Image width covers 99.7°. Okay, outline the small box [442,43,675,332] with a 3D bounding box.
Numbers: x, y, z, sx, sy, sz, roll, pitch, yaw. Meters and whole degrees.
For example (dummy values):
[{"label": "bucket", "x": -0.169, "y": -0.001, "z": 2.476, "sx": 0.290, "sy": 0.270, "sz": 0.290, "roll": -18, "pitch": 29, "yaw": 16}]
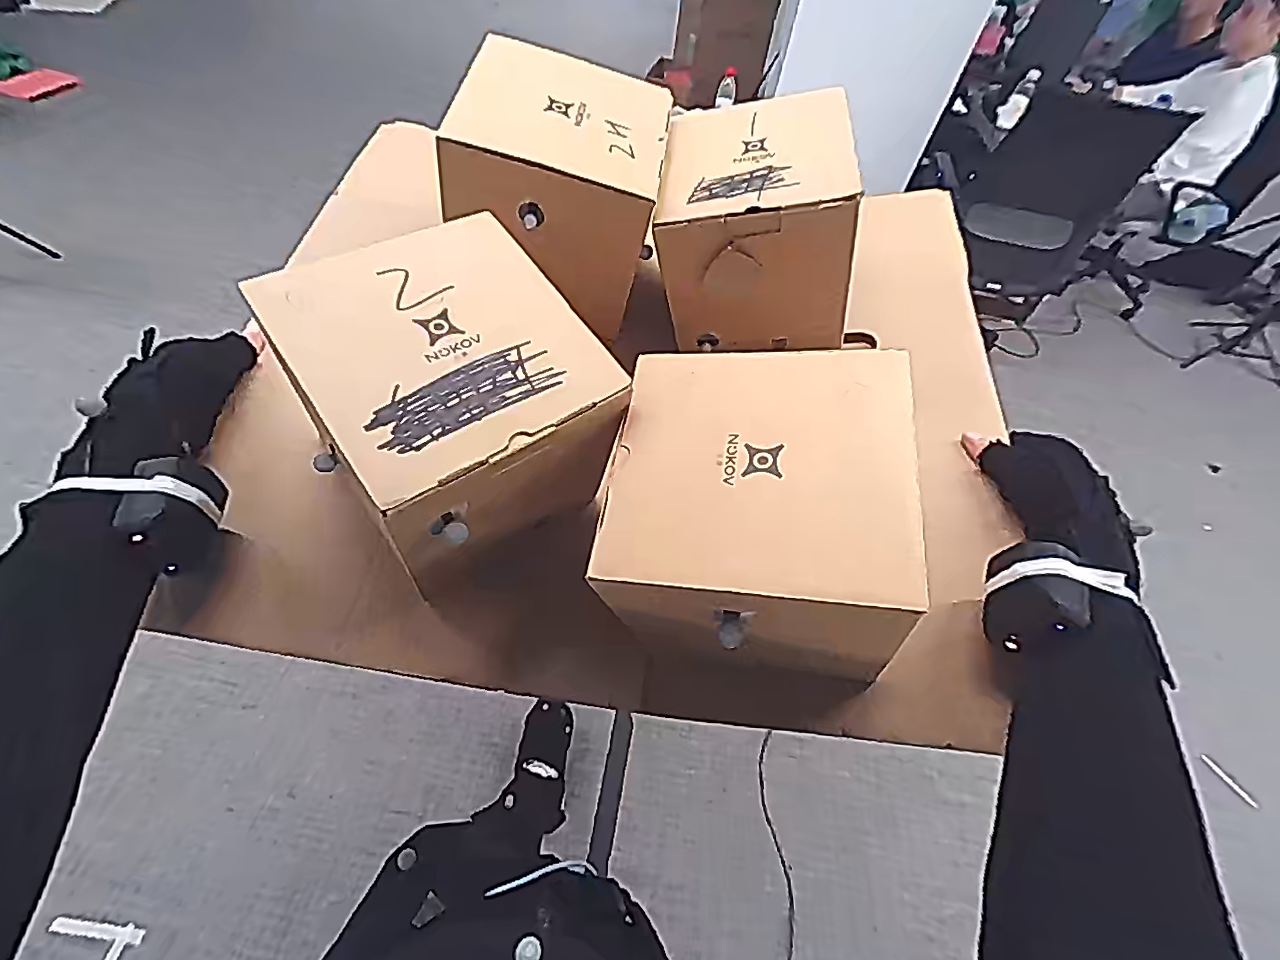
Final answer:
[{"label": "small box", "x": -0.078, "y": -0.274, "z": 0.535, "sx": 0.179, "sy": 0.176, "sz": 0.168, "roll": 13, "pitch": 61, "yaw": -9}]
